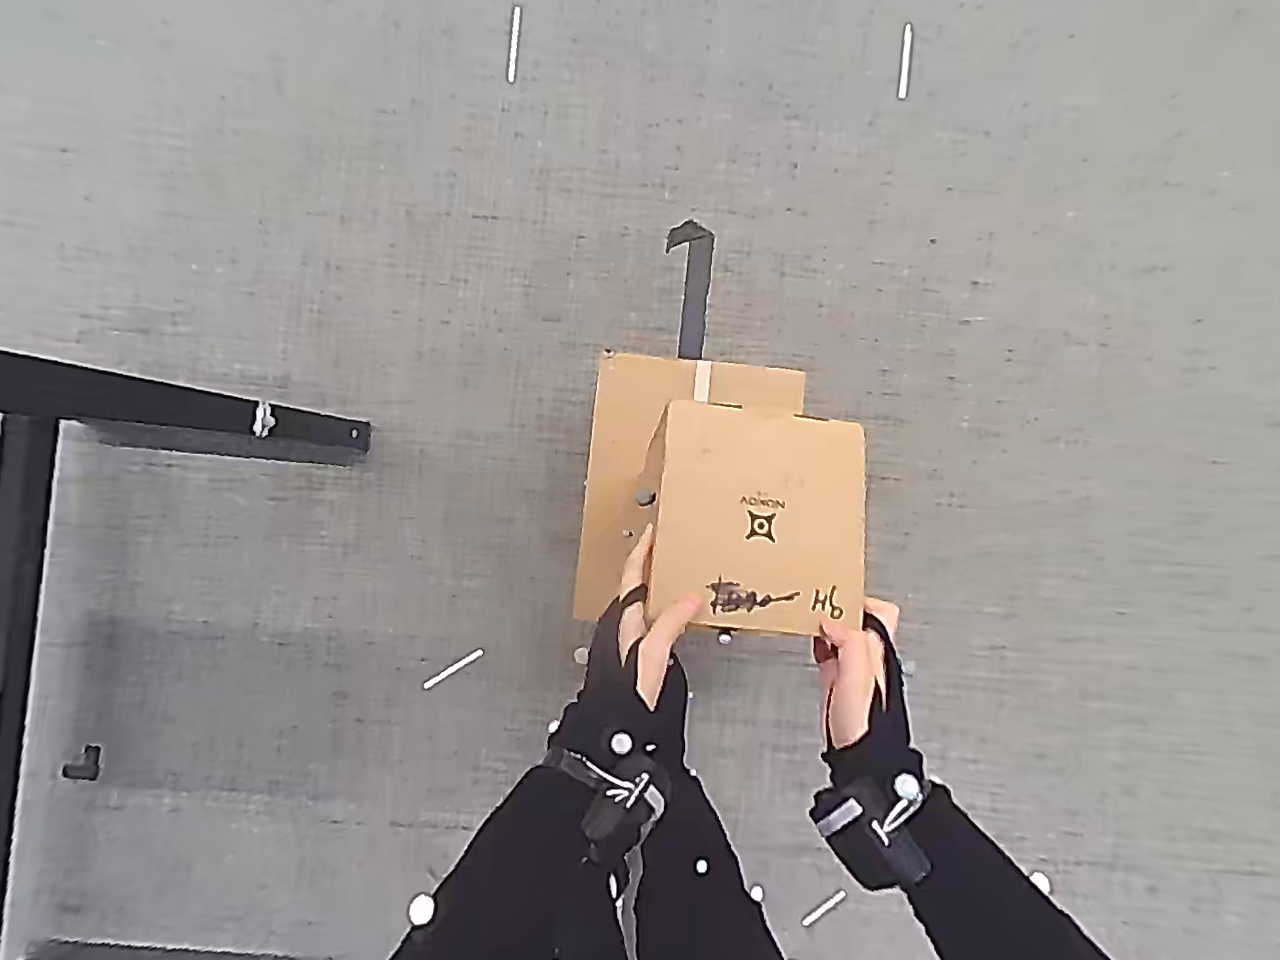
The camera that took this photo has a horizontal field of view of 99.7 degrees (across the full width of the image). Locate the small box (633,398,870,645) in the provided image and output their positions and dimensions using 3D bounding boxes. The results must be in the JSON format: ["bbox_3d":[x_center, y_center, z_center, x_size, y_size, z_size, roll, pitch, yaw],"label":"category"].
[{"bbox_3d":[0.088,0.046,0.494,0.168,0.176,0.179,8,77,-5],"label":"small box"}]

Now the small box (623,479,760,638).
[{"bbox_3d":[0.072,0.086,0.706,0.168,0.176,0.179,9,90,0],"label":"small box"}]

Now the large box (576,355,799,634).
[{"bbox_3d":[0.070,0.028,0.952,0.320,0.320,0.408,5,88,-2],"label":"large box"}]
